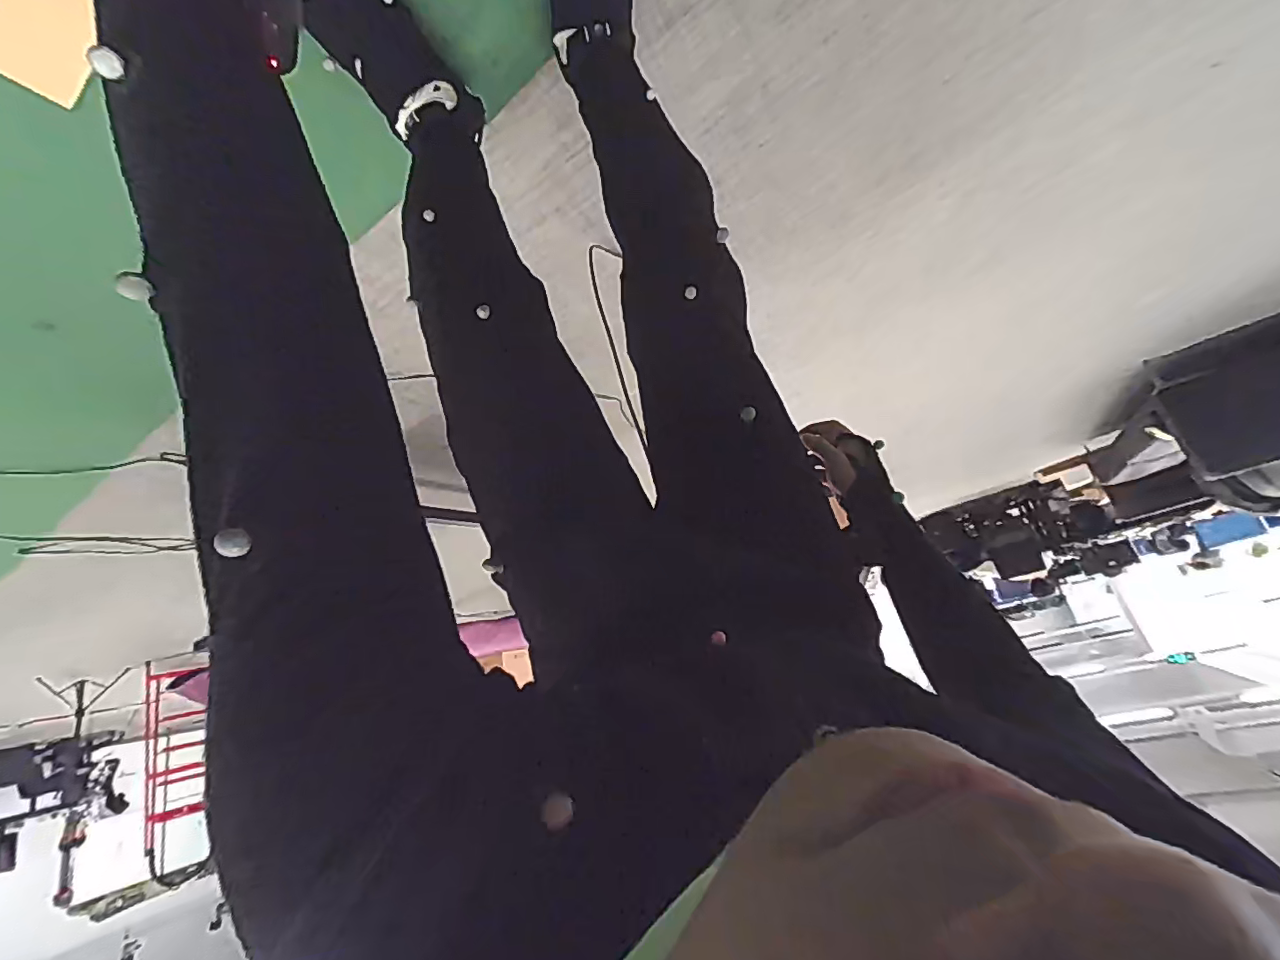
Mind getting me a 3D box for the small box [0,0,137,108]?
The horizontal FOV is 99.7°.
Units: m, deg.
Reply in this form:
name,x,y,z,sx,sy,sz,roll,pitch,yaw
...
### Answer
name,x,y,z,sx,sy,sz,roll,pitch,yaw
small box,-0.627,-0.534,0.528,0.168,0.176,0.179,-24,158,28
